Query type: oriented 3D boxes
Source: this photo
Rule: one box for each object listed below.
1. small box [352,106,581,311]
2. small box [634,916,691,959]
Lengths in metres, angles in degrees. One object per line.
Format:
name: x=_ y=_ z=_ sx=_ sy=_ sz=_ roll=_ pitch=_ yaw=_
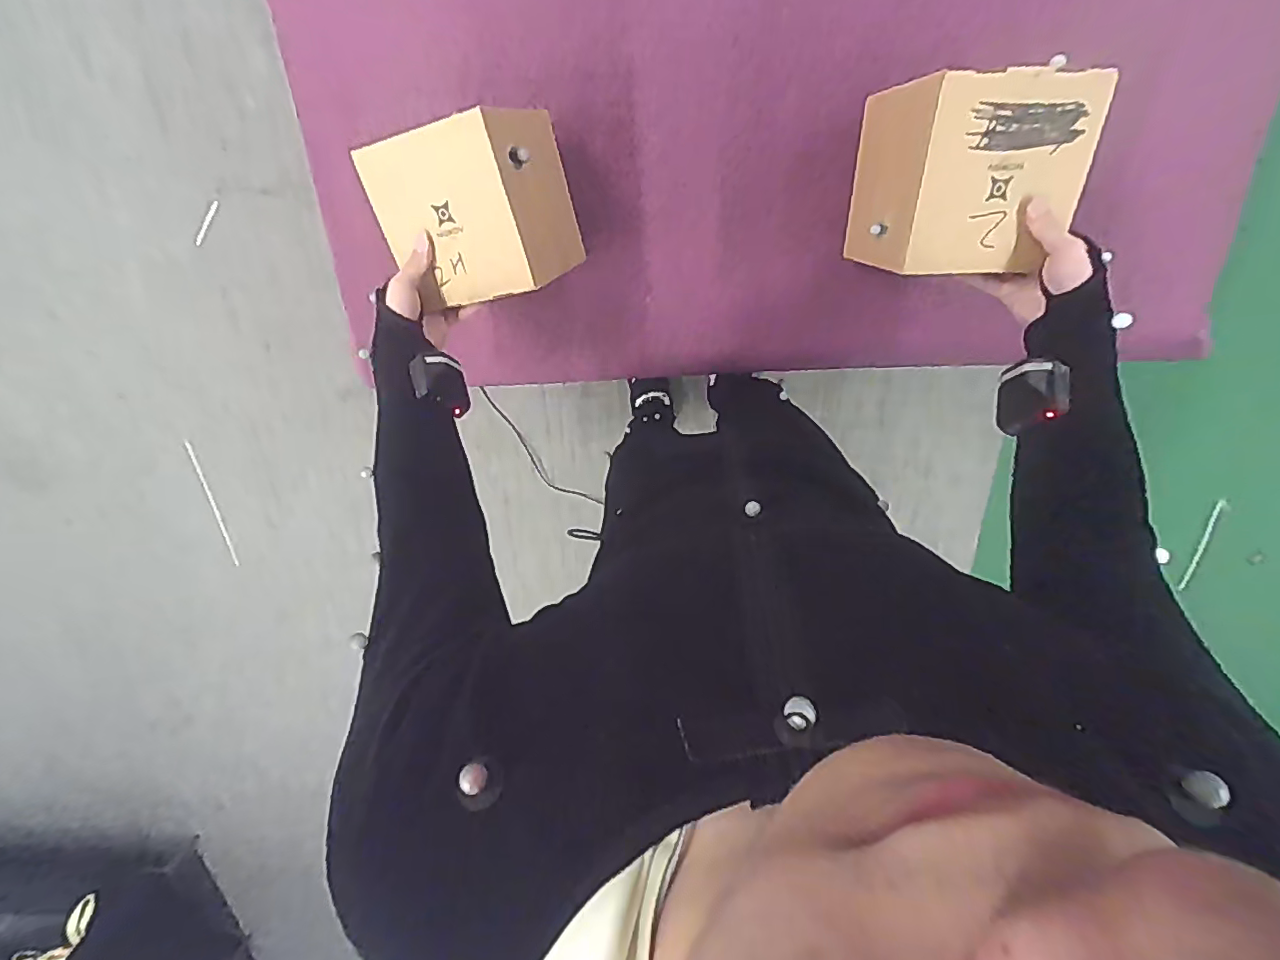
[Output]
small box: x=-0.192 y=-0.323 z=0.651 sx=0.168 sy=0.176 sz=0.179 roll=-3 pitch=120 yaw=21
small box: x=0.067 y=1.503 z=1.681 sx=0.168 sy=0.176 sz=0.179 roll=8 pitch=115 yaw=3
